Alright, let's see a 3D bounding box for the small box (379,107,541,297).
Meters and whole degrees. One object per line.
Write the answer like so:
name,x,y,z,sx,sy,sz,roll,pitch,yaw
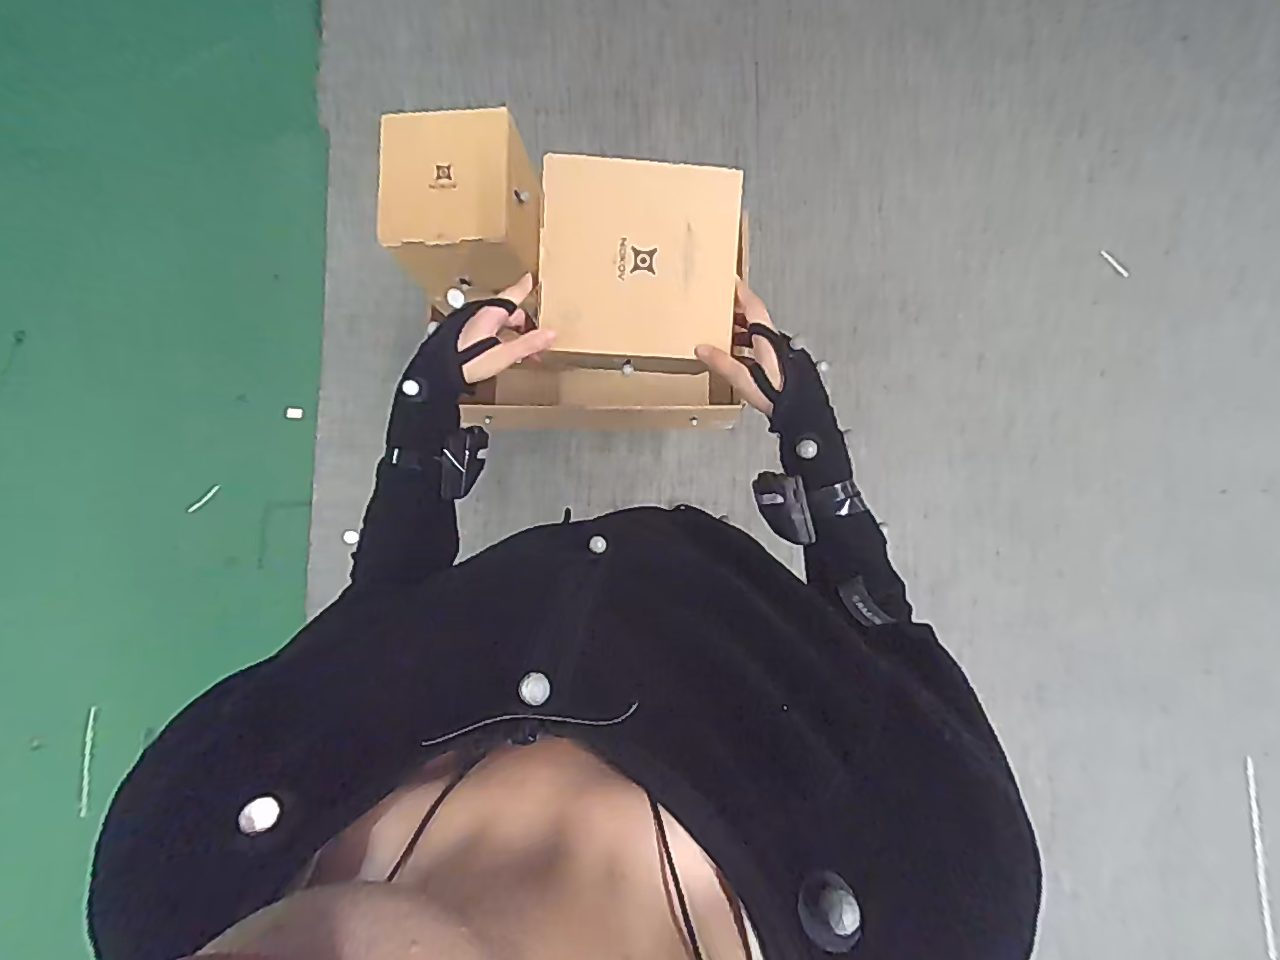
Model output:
small box,-0.238,-0.374,0.753,0.168,0.176,0.179,-1,86,3
